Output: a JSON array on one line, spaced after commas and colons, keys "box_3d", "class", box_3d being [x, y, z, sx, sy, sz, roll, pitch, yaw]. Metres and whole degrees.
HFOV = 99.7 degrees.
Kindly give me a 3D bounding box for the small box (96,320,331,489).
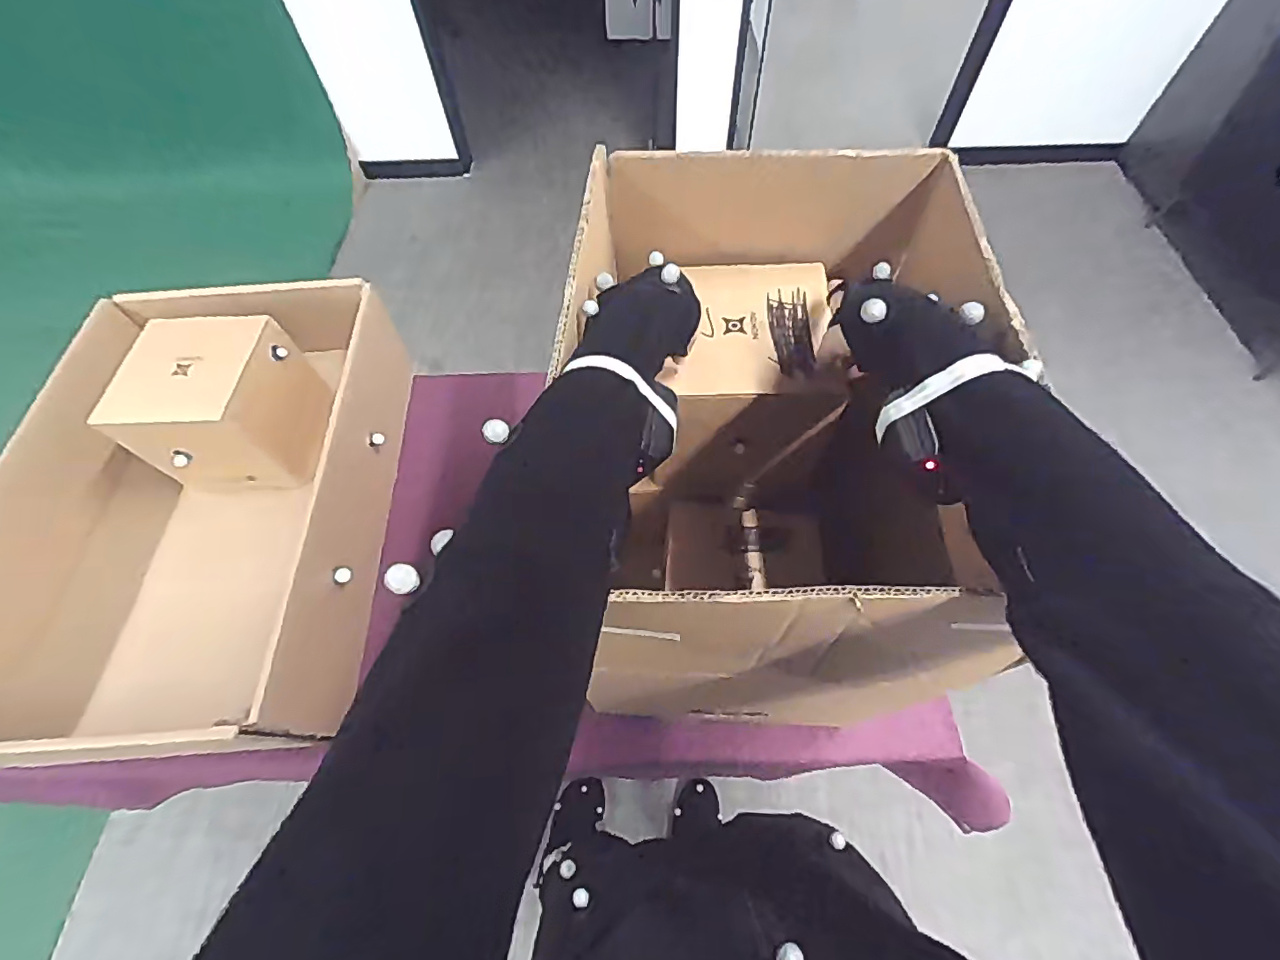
[{"box_3d": [-0.567, -0.096, 0.753, 0.168, 0.176, 0.179, -2, 60, 2], "class": "small box"}]
